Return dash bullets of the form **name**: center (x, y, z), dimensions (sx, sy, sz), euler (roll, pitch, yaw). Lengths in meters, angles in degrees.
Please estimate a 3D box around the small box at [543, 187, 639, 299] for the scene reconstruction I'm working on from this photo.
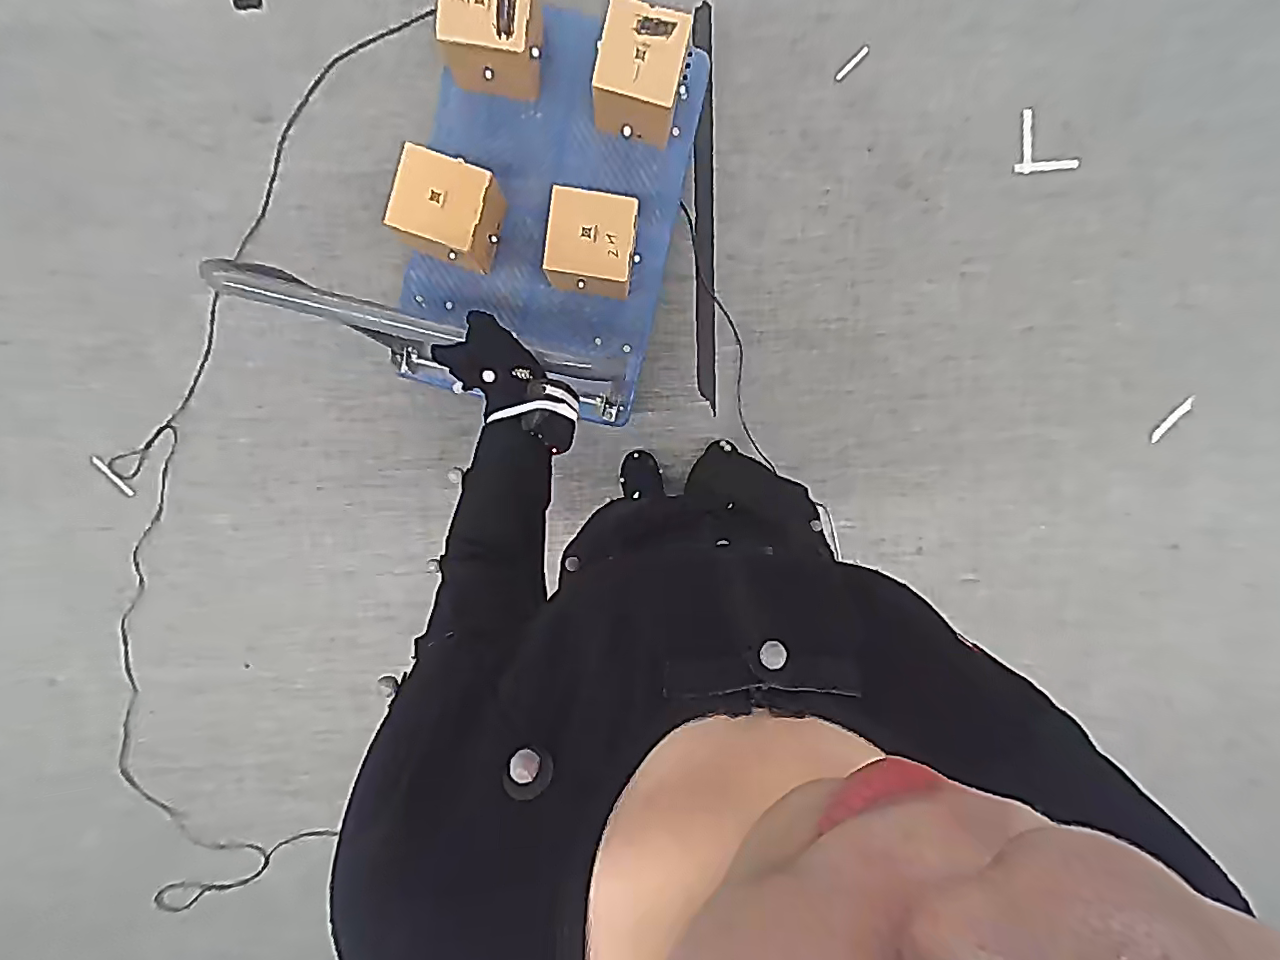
- **small box**: center (-0.101, -0.500, 1.165), dimensions (0.179, 0.176, 0.168), euler (8, 96, -3)

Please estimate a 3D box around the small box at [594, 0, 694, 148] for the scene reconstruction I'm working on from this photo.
- **small box**: center (0.004, -0.842, 1.131), dimensions (0.168, 0.176, 0.179), euler (14, 97, -3)

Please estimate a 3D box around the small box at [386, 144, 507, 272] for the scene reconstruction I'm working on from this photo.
- **small box**: center (-0.401, -0.564, 1.149), dimensions (0.179, 0.176, 0.168), euler (17, 95, -5)
